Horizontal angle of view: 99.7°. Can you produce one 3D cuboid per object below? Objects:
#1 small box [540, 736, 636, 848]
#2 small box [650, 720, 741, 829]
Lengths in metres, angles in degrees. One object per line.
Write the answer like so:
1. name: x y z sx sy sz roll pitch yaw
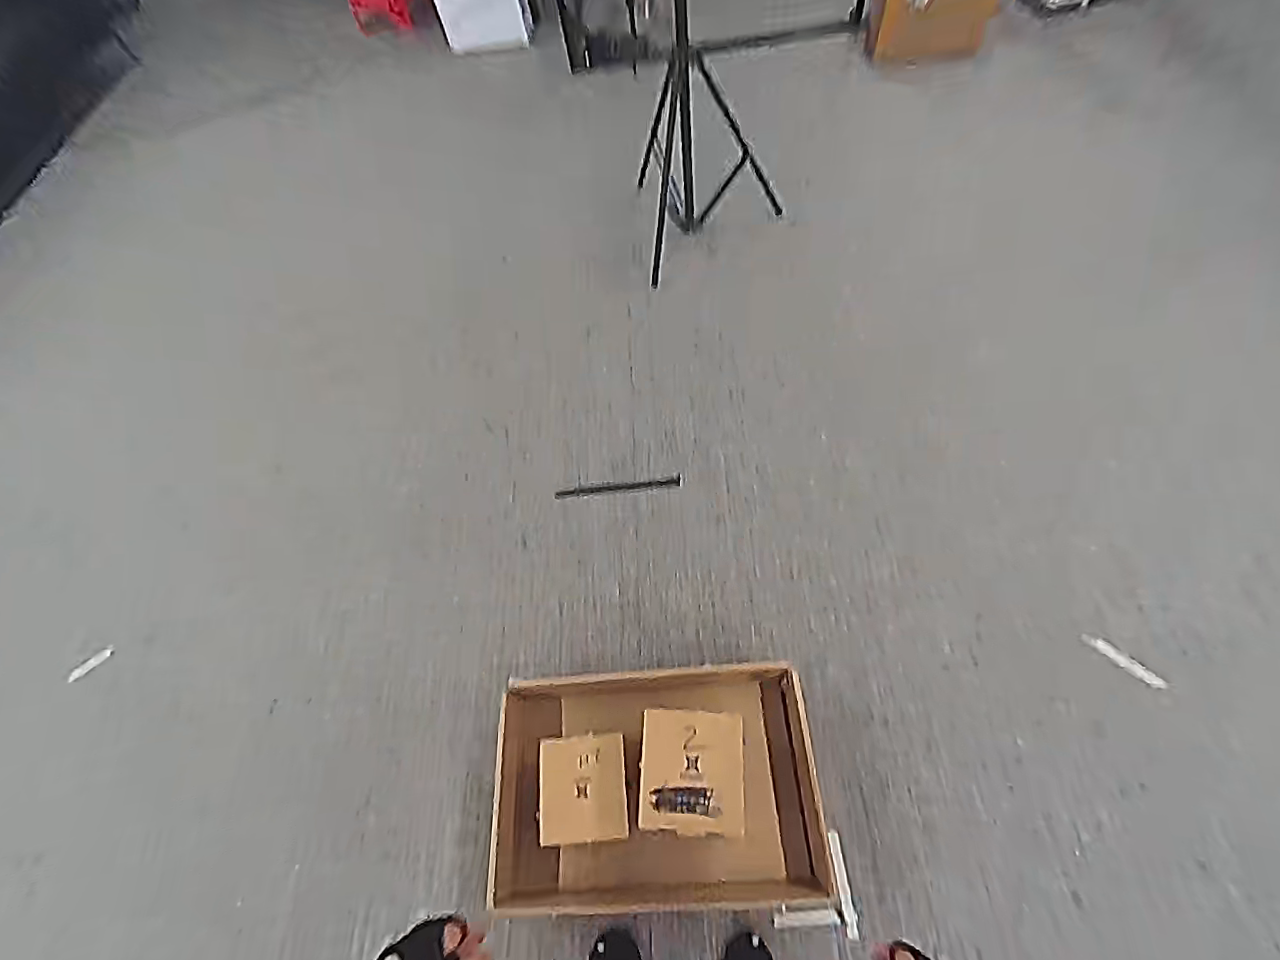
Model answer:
1. small box: -0.100 0.620 1.084 0.168 0.176 0.179 -6 60 1
2. small box: 0.114 0.585 1.080 0.168 0.176 0.179 -2 61 8
